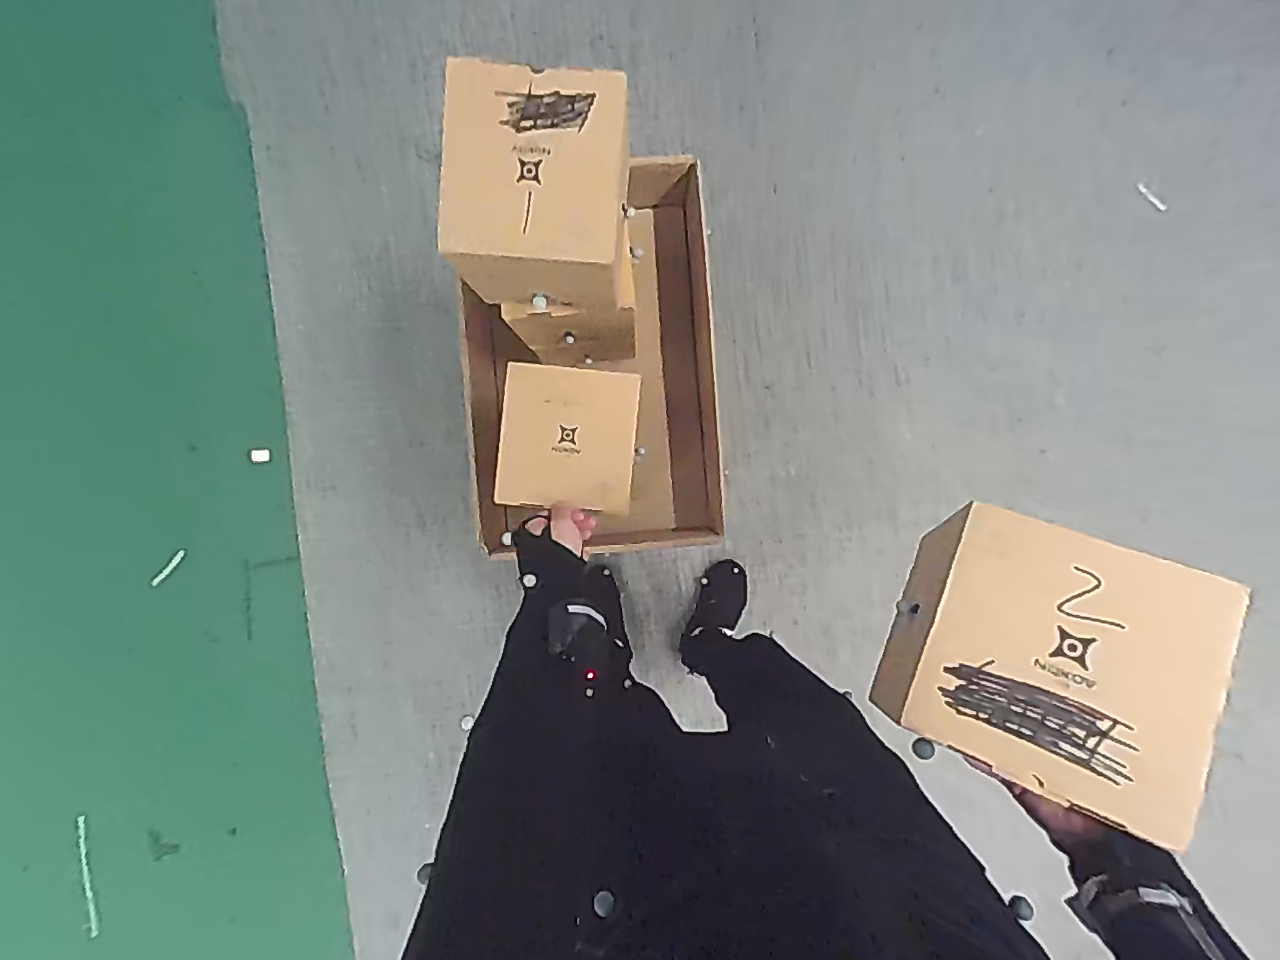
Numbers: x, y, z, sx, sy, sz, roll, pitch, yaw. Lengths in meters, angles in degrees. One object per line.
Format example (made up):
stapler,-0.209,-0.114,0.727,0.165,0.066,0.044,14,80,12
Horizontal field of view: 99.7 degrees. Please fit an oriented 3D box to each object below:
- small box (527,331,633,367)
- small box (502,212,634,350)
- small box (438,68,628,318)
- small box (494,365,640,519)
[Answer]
small box,-0.100,-0.297,0.908,0.168,0.176,0.179,-5,92,0
small box,-0.099,-0.290,0.746,0.168,0.176,0.179,-6,92,-1
small box,-0.102,-0.289,0.581,0.168,0.176,0.179,4,93,-1
small box,-0.090,-0.045,0.742,0.168,0.176,0.179,6,88,-1
